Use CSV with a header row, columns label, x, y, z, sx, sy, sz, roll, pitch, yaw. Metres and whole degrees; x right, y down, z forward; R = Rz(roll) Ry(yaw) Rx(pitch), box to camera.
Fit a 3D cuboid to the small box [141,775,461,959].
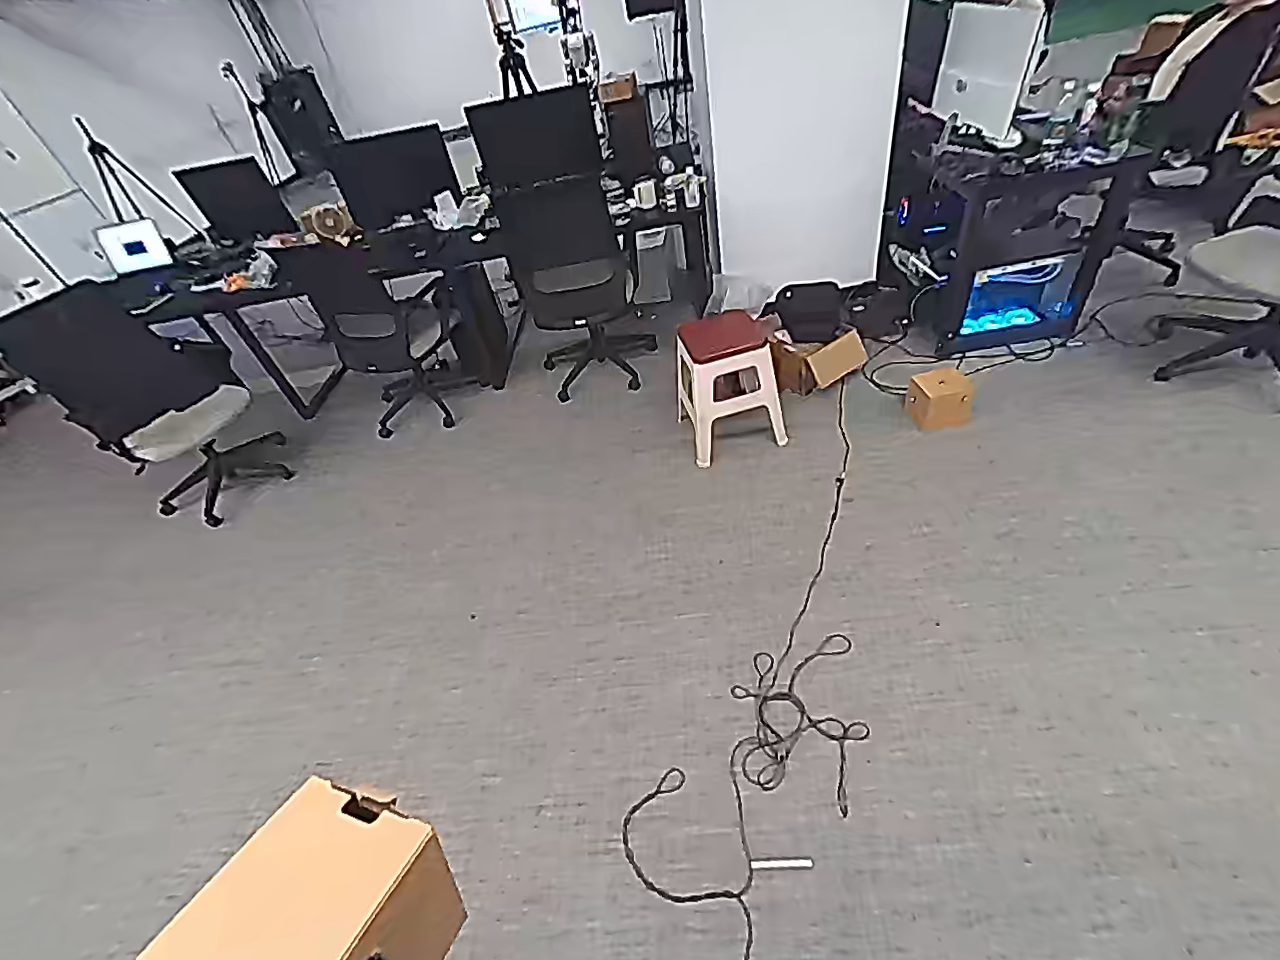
label,x,y,z,sx,sy,sz,roll,pitch,yaw
small box,-0.298,0.434,0.517,0.168,0.176,0.179,8,30,20
